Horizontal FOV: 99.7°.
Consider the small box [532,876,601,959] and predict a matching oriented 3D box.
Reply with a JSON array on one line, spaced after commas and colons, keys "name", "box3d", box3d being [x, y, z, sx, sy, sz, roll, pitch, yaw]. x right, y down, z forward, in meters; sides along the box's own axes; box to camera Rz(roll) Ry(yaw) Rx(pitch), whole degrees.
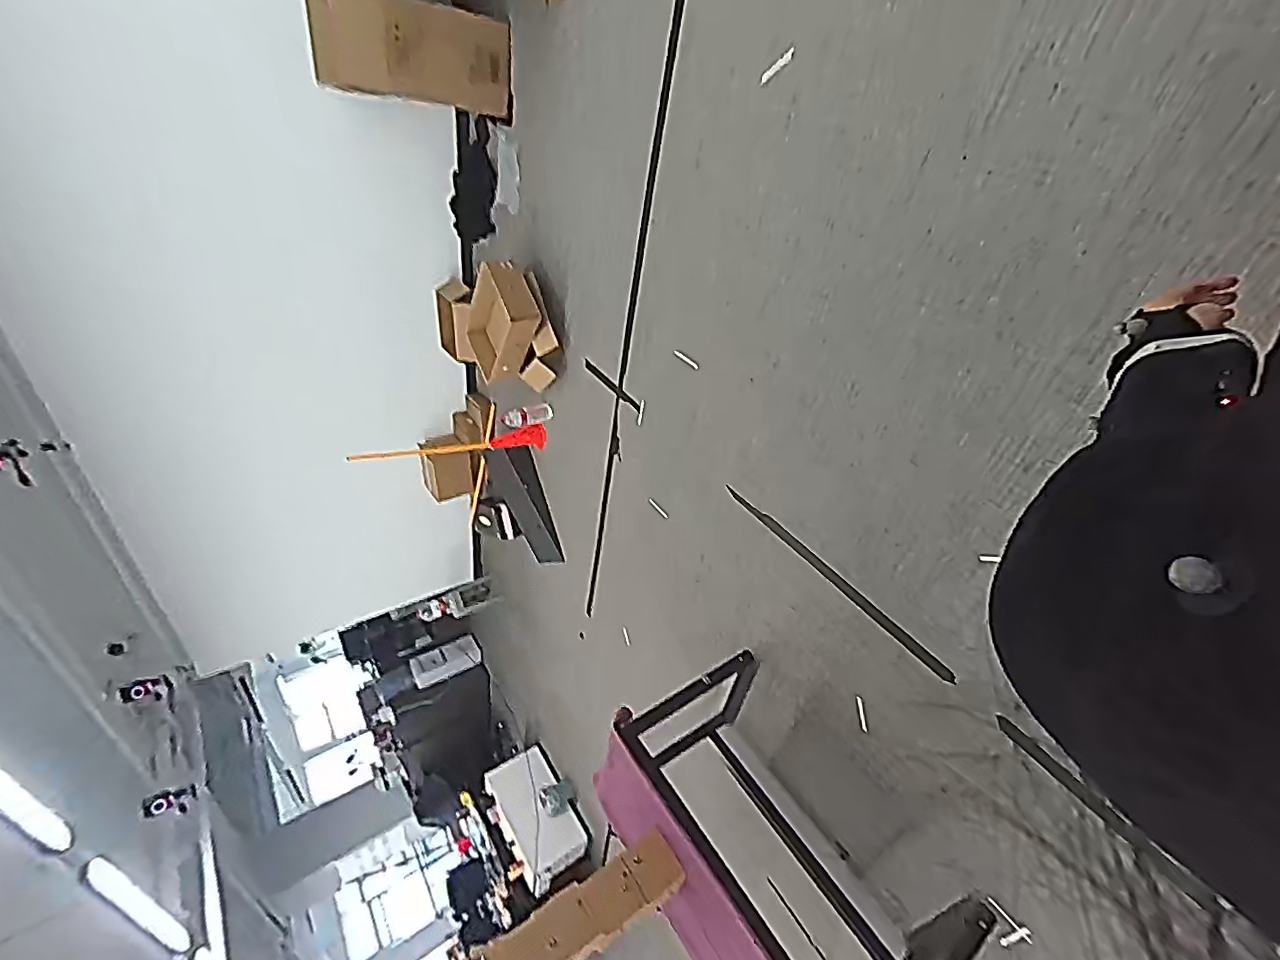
[{"name": "small box", "box3d": [-0.240, 1.445, 1.757, 0.168, 0.176, 0.179, 43, 138, 37]}]

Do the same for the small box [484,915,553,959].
[{"name": "small box", "box3d": [-0.369, 1.499, 1.673, 0.179, 0.176, 0.168, 43, 137, 38]}]

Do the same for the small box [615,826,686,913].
[{"name": "small box", "box3d": [0.035, 1.372, 1.920, 0.179, 0.176, 0.168, 43, 138, 37]}]
